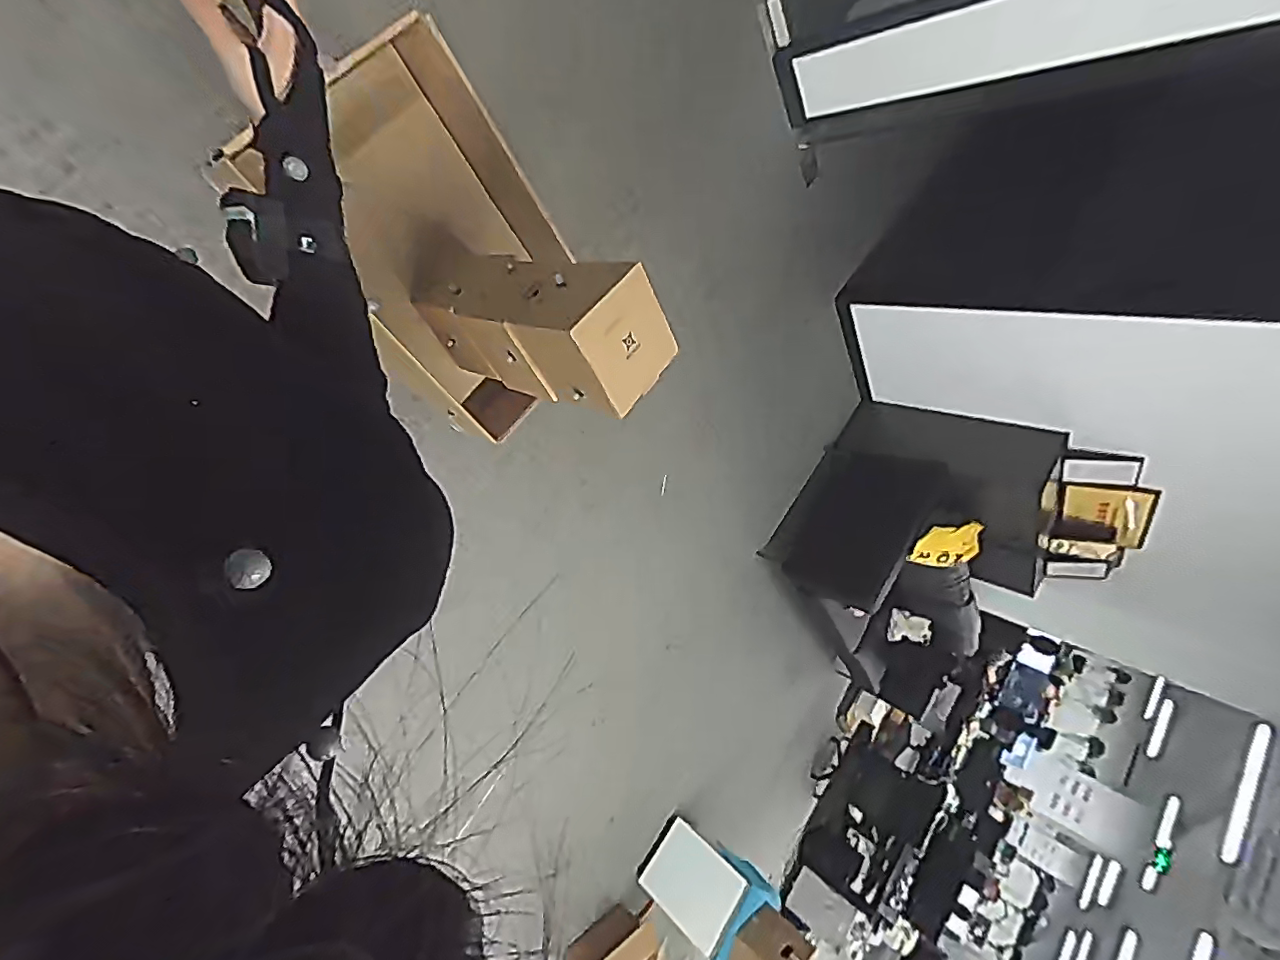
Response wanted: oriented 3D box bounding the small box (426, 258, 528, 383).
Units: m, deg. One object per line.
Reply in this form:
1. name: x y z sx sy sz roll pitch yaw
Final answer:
1. small box: -0.296 -0.318 1.075 0.179 0.176 0.168 -49 134 -21

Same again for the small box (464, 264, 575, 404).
1. small box: -0.180 -0.263 0.972 0.168 0.176 0.179 -49 134 -19

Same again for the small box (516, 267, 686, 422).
1. small box: -0.061 -0.223 0.868 0.168 0.176 0.179 -50 134 -20
